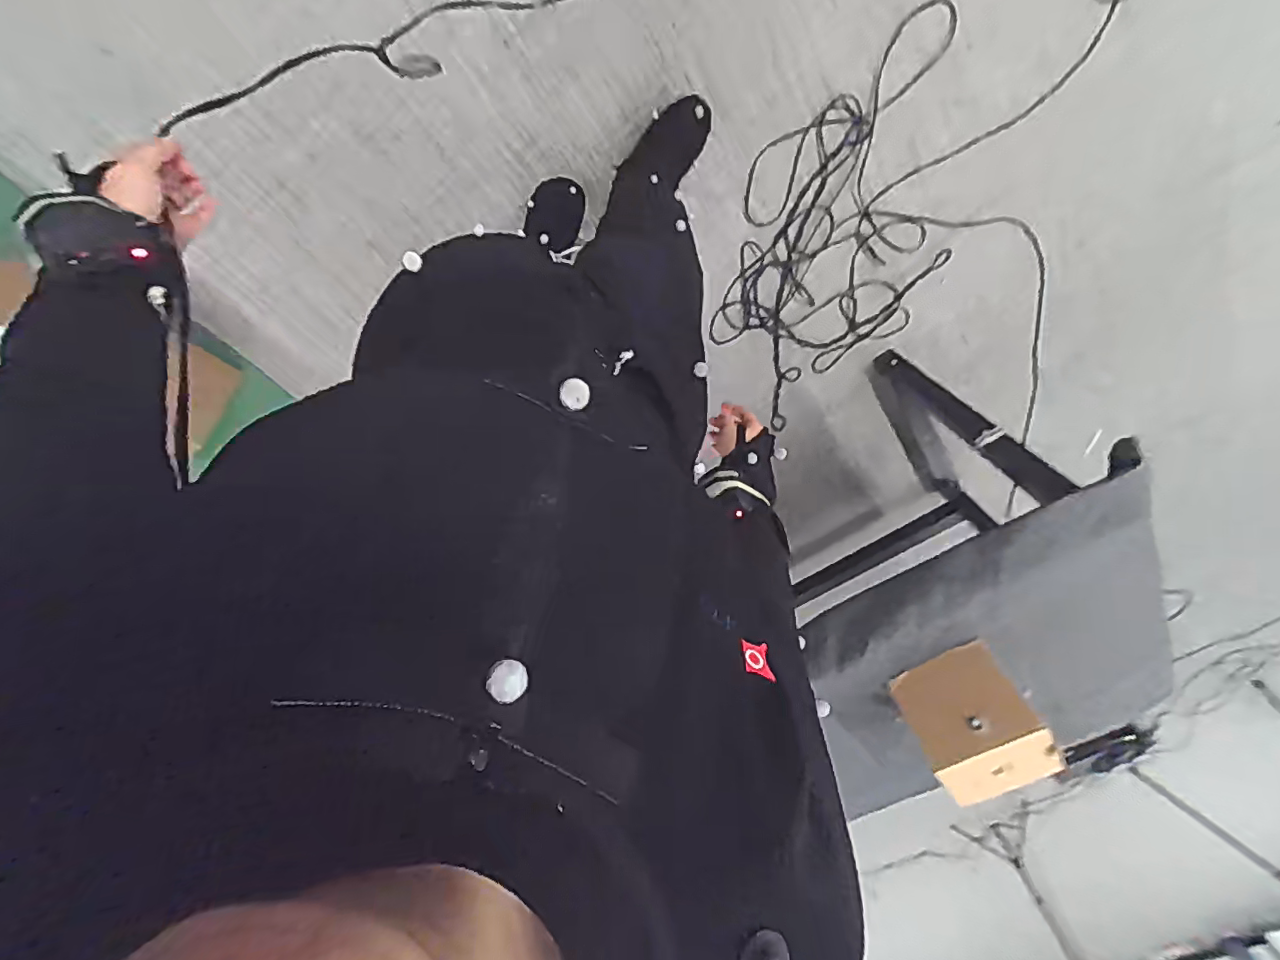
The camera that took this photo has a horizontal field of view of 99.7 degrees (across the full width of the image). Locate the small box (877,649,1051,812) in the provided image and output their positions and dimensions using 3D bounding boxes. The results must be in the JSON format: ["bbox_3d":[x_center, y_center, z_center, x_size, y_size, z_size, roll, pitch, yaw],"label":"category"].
[{"bbox_3d":[0.540,0.418,0.915,0.179,0.176,0.168,-32,122,14],"label":"small box"}]
